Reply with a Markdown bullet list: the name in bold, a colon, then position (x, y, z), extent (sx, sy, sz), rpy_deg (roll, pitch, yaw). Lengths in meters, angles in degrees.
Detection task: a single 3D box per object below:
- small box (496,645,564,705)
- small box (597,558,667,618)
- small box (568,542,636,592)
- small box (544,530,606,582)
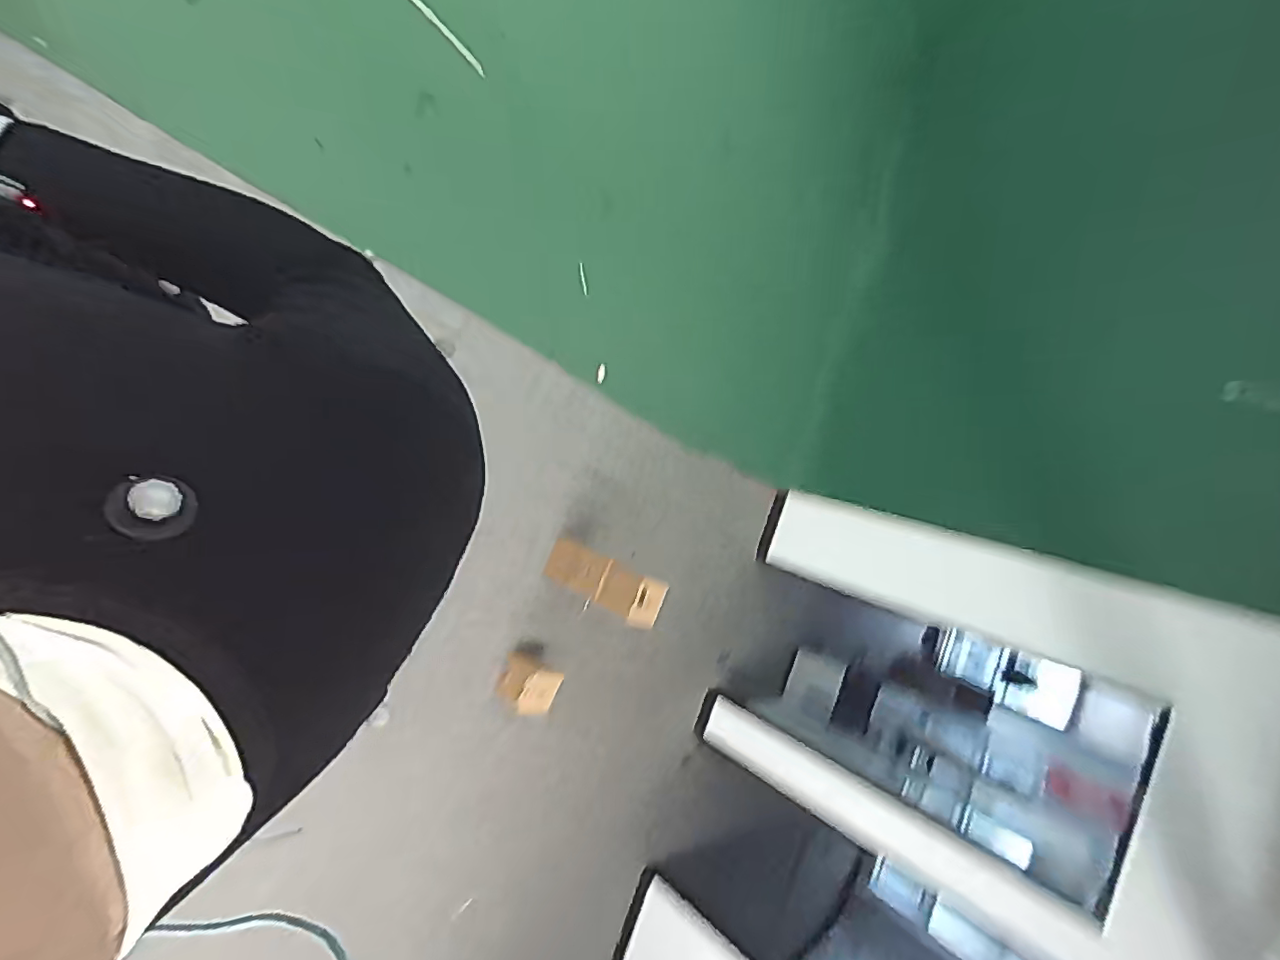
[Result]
- **small box**: position (-0.456, 0.802, 2.229), extent (0.179, 0.176, 0.168), rpy_deg (40, 71, -47)
- **small box**: position (-0.034, 0.408, 2.057), extent (0.179, 0.176, 0.168), rpy_deg (29, 81, -49)
- **small box**: position (-0.155, 0.358, 2.158), extent (0.179, 0.176, 0.168), rpy_deg (30, 81, -48)
- **small box**: position (-0.273, 0.326, 2.266), extent (0.168, 0.176, 0.179), rpy_deg (31, 80, -49)
